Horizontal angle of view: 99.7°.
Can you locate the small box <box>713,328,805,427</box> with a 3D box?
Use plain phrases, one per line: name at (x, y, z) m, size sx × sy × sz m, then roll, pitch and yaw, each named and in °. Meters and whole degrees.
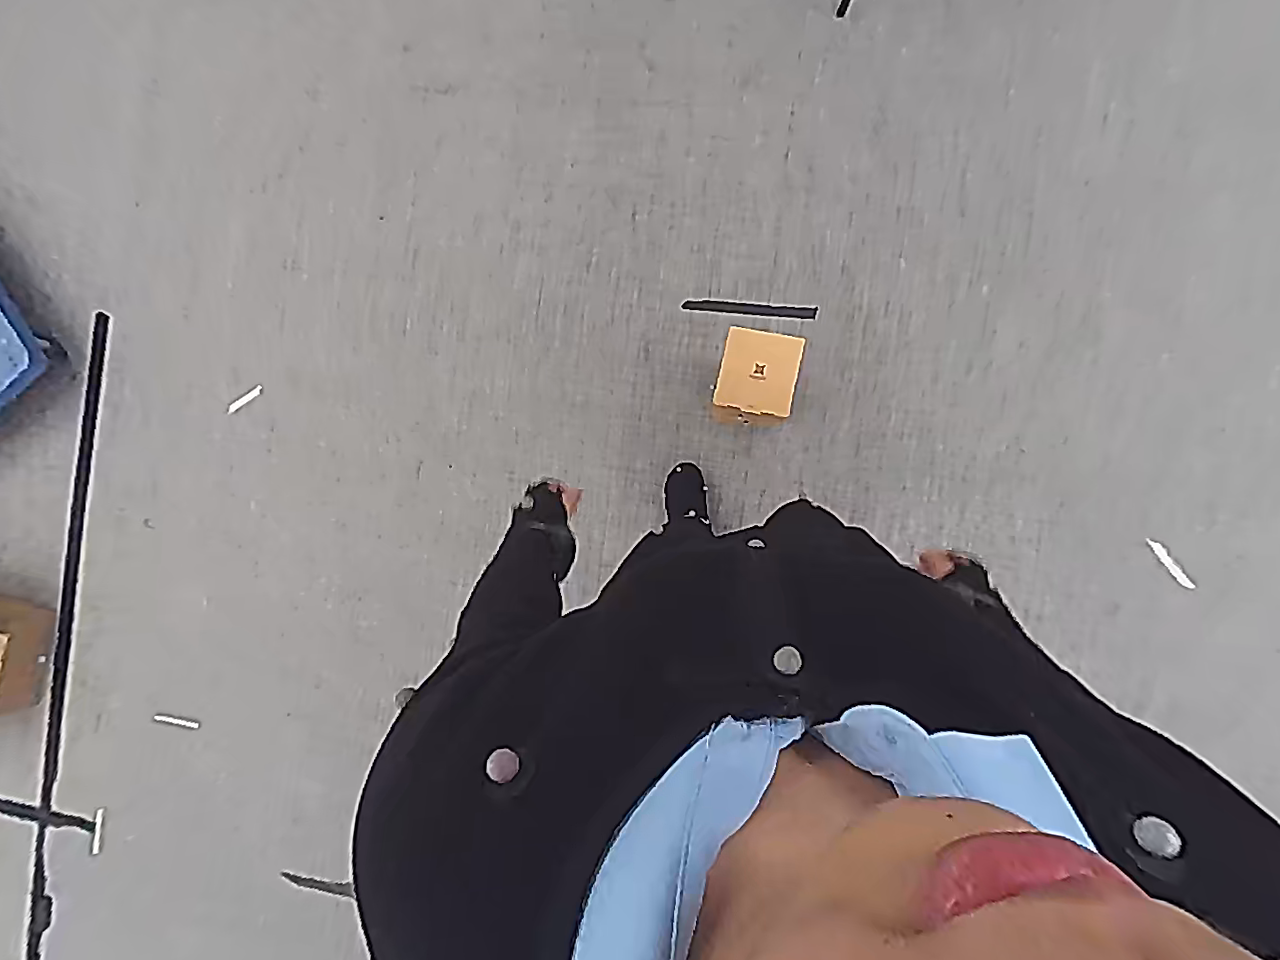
small box at (0.264, -0.229, 1.240) m, size 0.168 × 0.176 × 0.179 m, roll 12°, pitch 92°, yaw 6°
